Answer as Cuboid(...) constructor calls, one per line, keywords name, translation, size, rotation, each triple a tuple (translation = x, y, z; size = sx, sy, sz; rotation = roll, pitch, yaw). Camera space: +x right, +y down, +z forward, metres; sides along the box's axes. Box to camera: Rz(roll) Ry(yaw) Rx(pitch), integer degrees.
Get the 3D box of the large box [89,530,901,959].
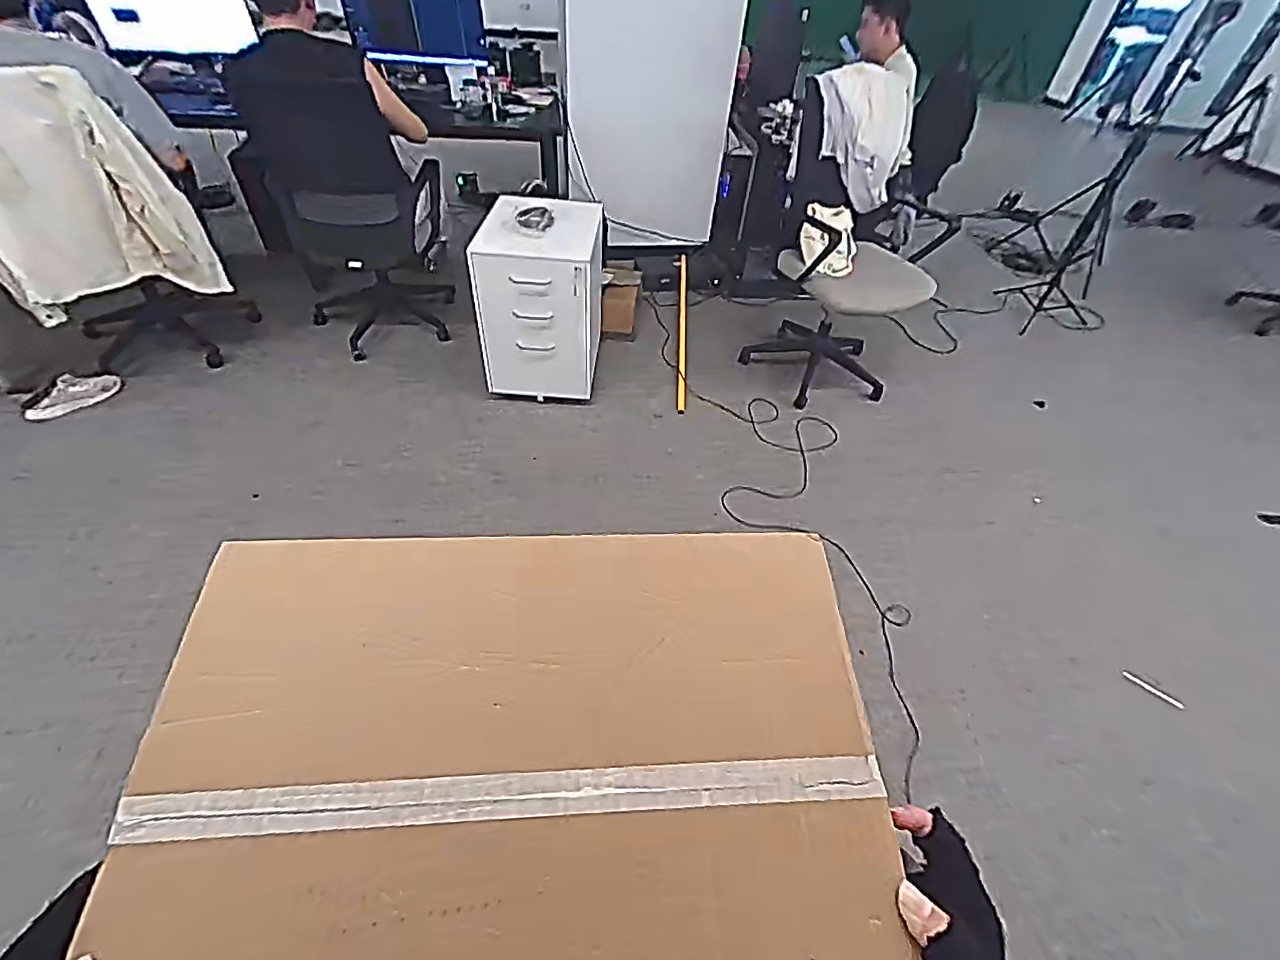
Cuboid(name="large box", translation=(-0.078, 0.248, 0.435), size=(0.408, 0.320, 0.320), rotation=(0, 59, -5))
